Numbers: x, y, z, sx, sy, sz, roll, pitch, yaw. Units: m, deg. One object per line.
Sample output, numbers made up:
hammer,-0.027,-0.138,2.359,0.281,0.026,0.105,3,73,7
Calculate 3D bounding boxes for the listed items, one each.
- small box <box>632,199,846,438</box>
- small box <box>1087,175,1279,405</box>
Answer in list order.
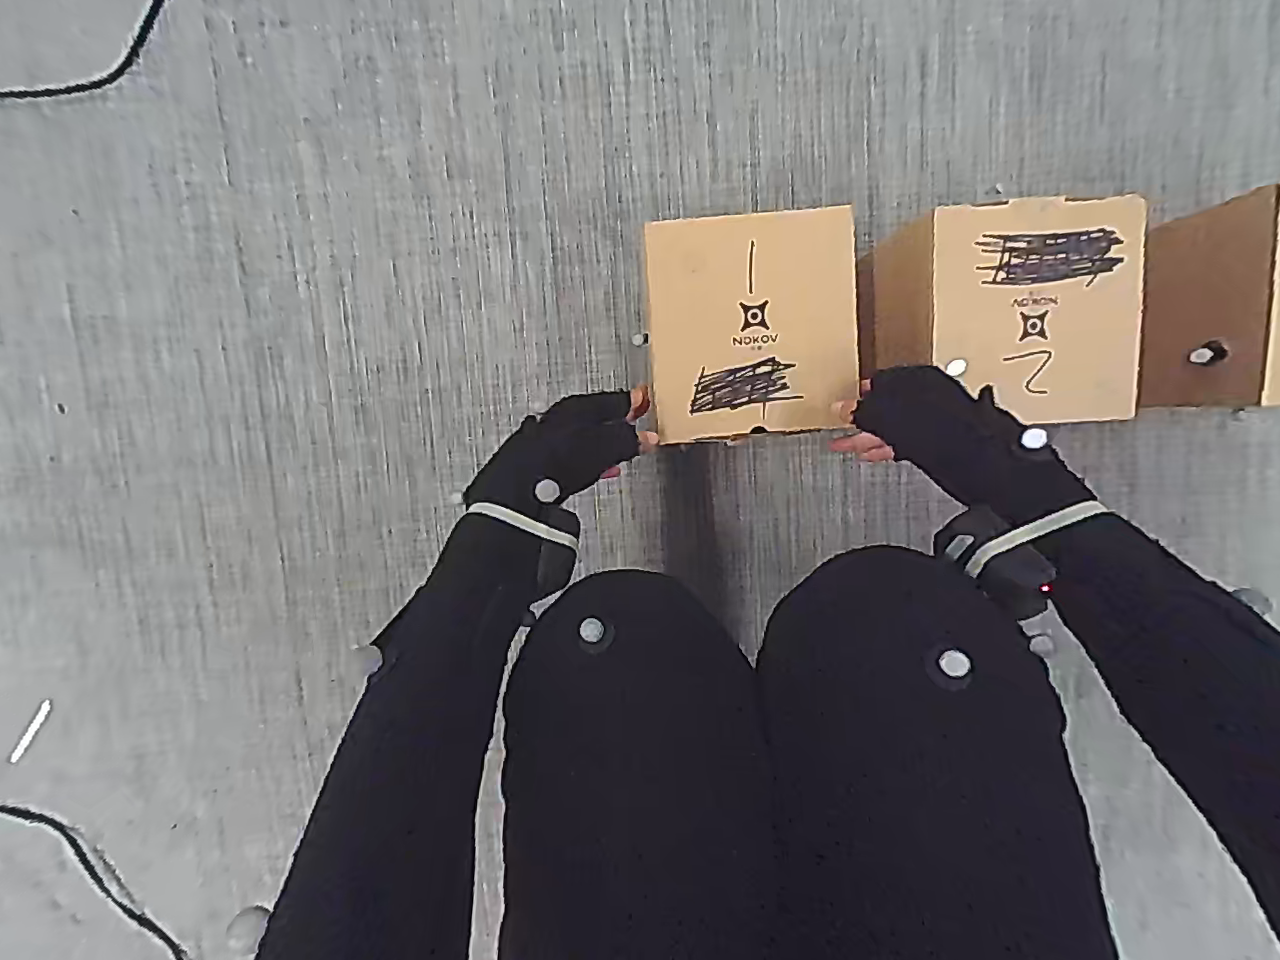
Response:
small box,0.084,-0.135,0.509,0.168,0.176,0.179,-4,95,3
small box,0.563,-0.162,0.503,0.168,0.176,0.179,-3,97,1
